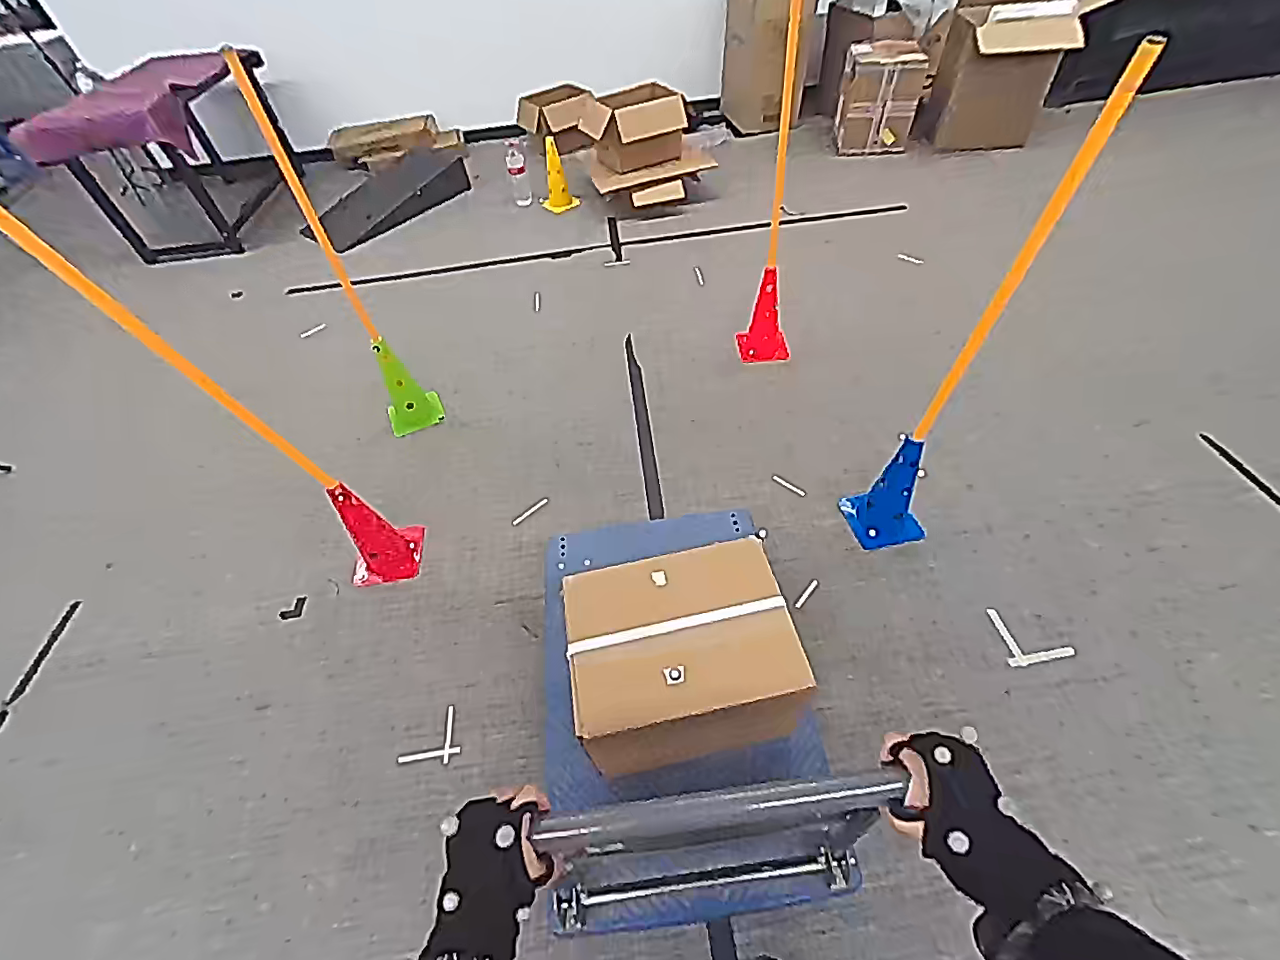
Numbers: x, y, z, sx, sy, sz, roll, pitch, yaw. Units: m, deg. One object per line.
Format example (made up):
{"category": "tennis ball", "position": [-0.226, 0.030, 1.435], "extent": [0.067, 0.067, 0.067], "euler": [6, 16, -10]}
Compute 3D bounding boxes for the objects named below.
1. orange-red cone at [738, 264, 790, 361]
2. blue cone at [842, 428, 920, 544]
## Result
{"category": "orange-red cone", "position": [0.503, -0.670, 2.115], "extent": [0.199, 0.360, 0.198], "euler": [-2, 51, 3]}
{"category": "blue cone", "position": [0.732, 0.005, 1.548], "extent": [0.193, 0.380, 0.192], "euler": [-11, 49, -4]}
